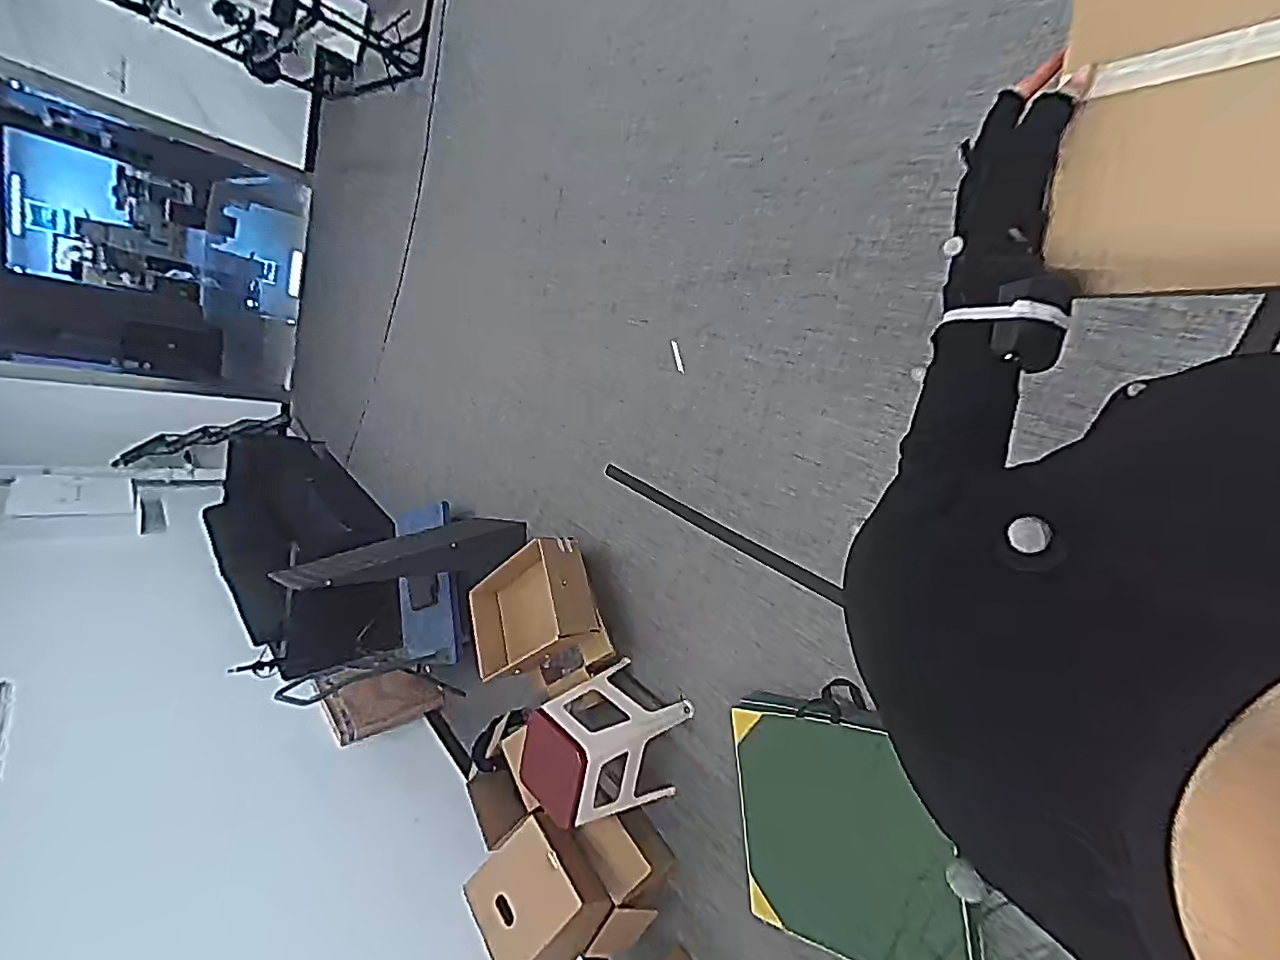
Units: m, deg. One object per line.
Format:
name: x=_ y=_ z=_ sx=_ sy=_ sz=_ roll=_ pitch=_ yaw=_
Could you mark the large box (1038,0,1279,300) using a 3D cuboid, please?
large box: x=0.592 y=-0.316 z=0.422 sx=0.408 sy=0.320 sz=0.320 roll=12 pitch=112 yaw=39
